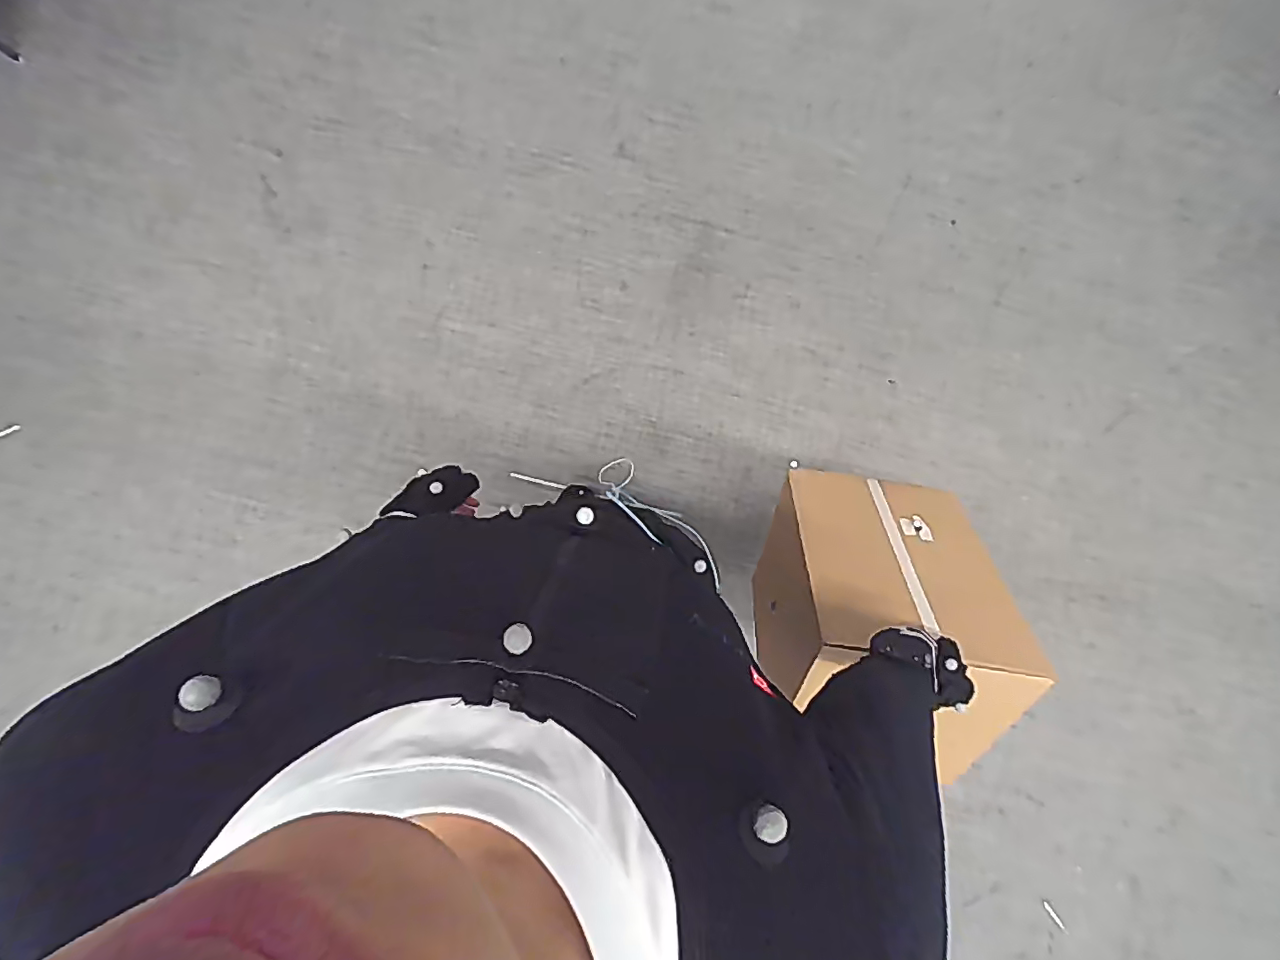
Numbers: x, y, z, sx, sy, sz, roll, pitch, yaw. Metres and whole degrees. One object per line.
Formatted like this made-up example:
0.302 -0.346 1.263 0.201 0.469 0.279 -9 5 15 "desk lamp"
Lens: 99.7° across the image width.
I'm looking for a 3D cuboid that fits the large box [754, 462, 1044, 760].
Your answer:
0.402 0.222 0.976 0.320 0.408 0.320 9 128 1 "large box"
